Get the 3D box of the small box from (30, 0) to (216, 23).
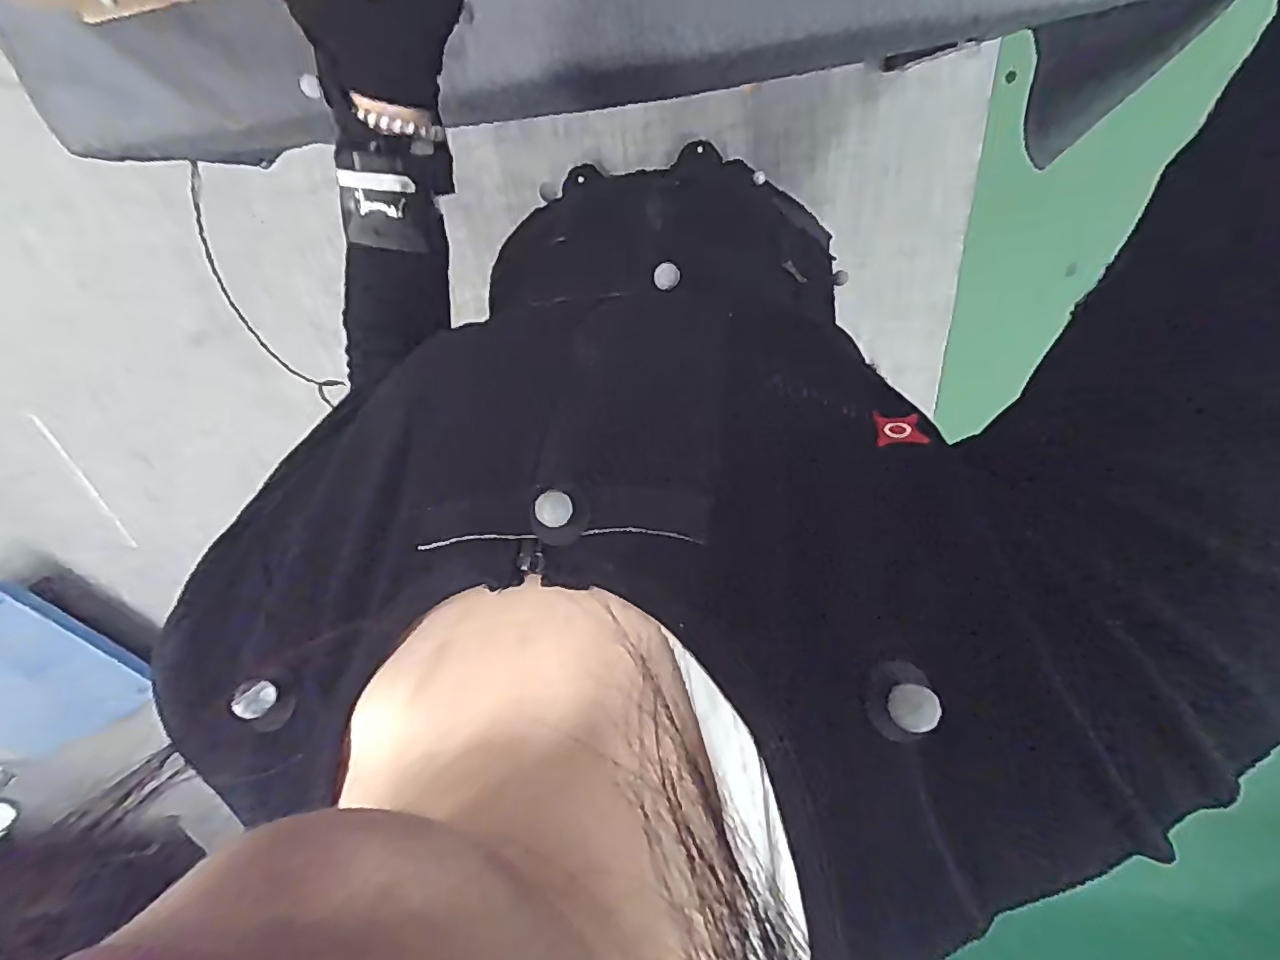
[{"bbox_3d":[-0.464,-0.484,0.403,0.168,0.176,0.179,-9,120,4],"label":"small box"}]
